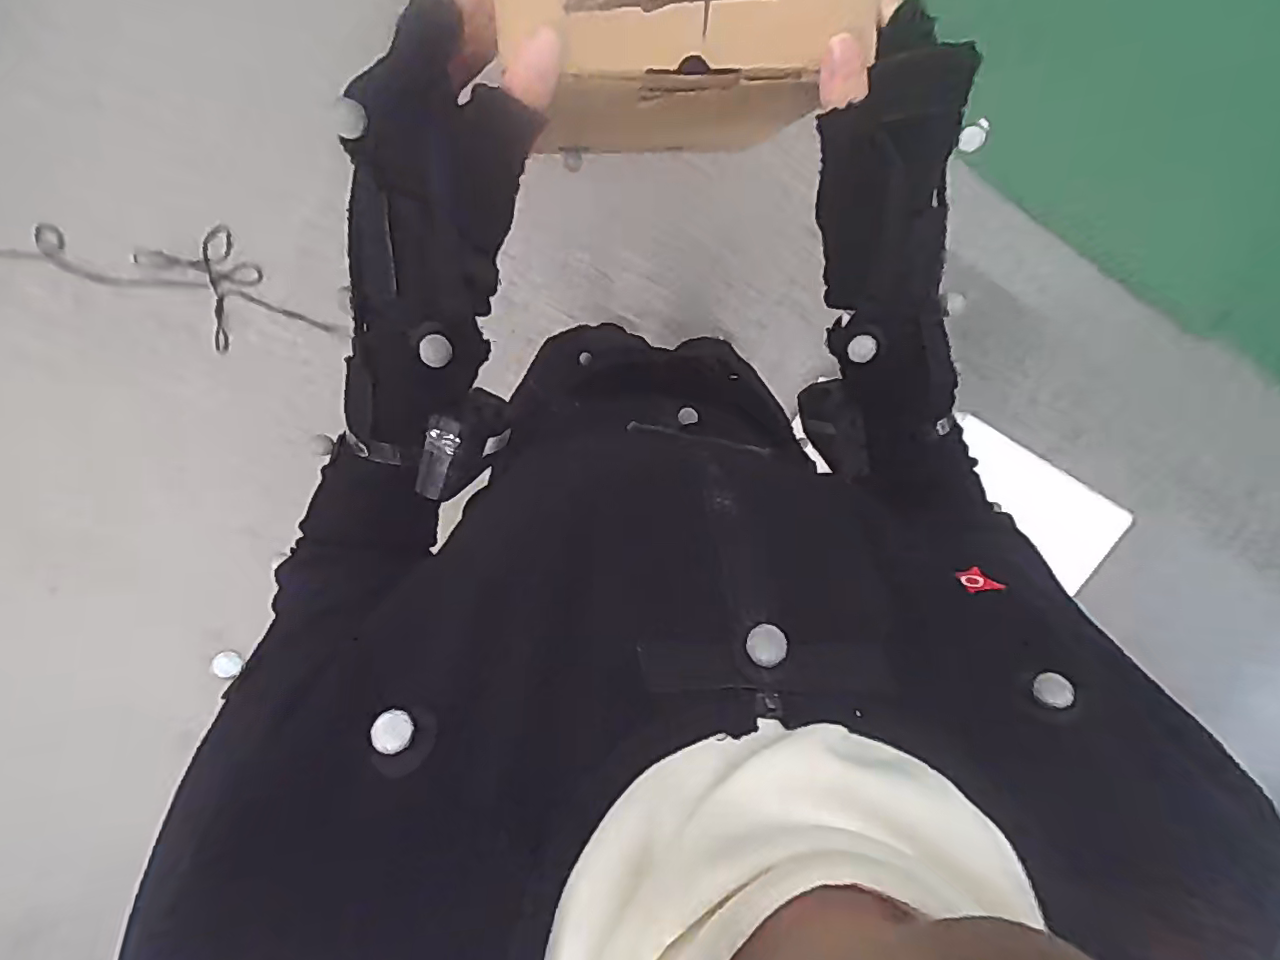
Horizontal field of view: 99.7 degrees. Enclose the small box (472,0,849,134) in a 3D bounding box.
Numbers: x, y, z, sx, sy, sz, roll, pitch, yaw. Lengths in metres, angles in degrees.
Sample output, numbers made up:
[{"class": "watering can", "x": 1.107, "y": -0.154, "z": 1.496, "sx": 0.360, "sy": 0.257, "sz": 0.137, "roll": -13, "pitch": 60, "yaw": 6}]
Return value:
[{"class": "small box", "x": -0.001, "y": -0.296, "z": 0.281, "sx": 0.168, "sy": 0.176, "sz": 0.179, "roll": -6, "pitch": 110, "yaw": -6}]
